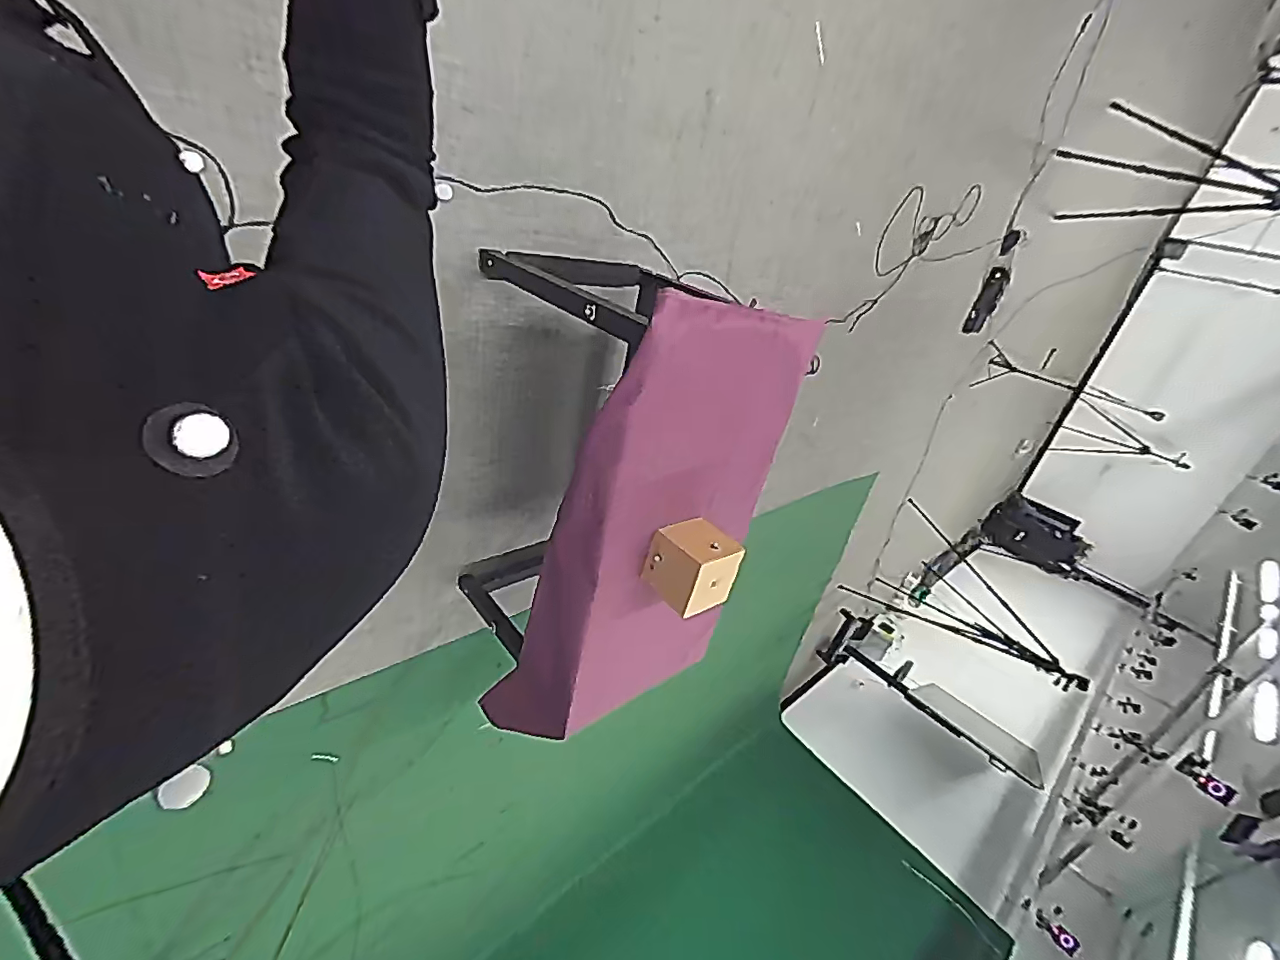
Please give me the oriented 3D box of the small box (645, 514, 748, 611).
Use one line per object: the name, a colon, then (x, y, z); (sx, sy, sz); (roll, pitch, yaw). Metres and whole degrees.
small box: (0.143, 0.203, 1.397); (0.179, 0.176, 0.168); (-9, 124, -42)
